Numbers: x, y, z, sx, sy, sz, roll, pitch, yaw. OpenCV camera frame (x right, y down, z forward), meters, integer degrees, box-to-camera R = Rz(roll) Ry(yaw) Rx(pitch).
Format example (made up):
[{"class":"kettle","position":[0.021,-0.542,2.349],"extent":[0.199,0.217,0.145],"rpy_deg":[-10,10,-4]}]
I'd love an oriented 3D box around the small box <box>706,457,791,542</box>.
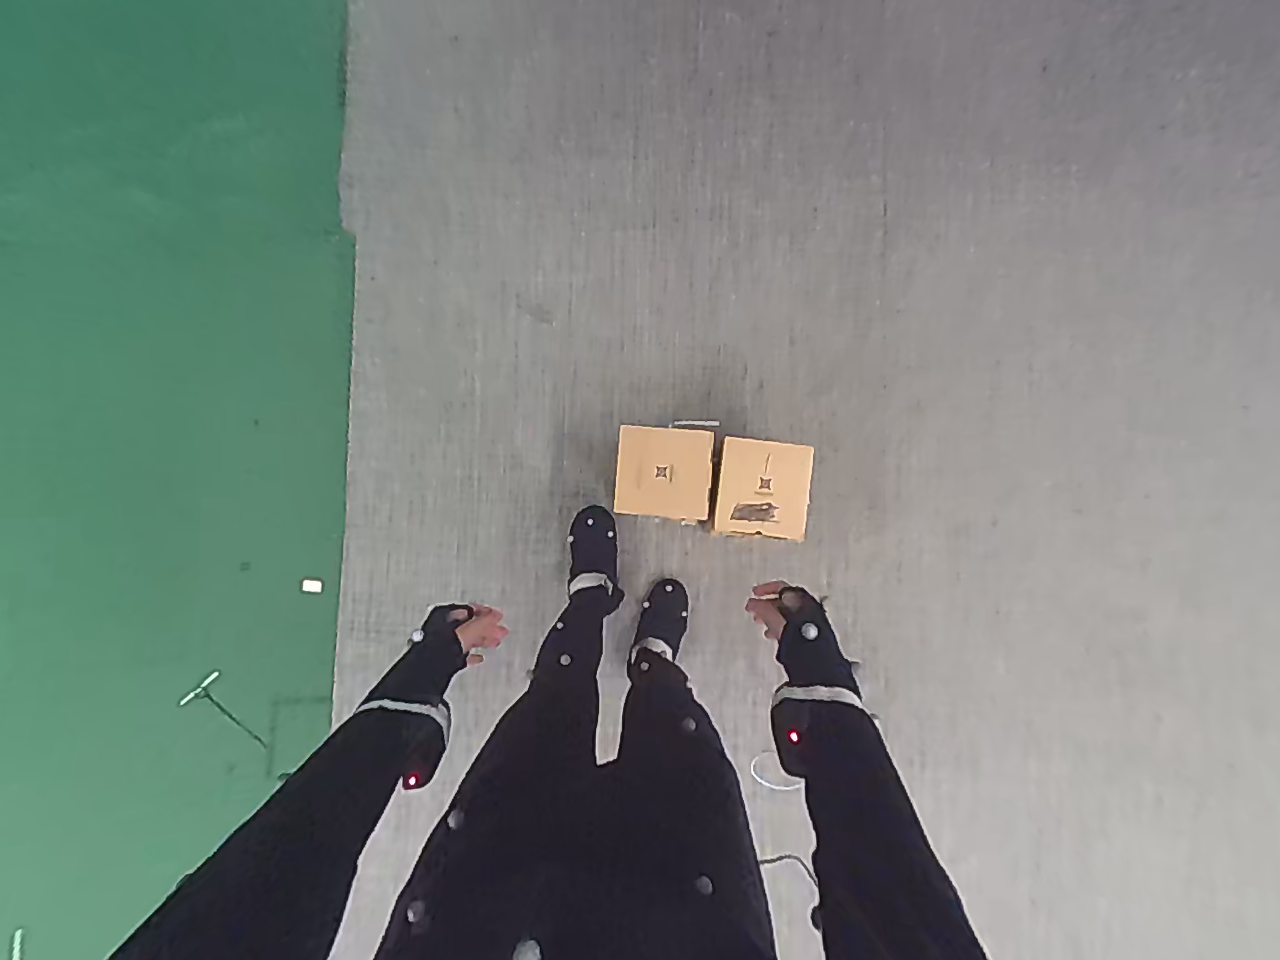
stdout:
[{"class":"small box","position":[0.239,0.044,1.223],"extent":[0.168,0.176,0.179],"rpy_deg":[2,88,3]}]
